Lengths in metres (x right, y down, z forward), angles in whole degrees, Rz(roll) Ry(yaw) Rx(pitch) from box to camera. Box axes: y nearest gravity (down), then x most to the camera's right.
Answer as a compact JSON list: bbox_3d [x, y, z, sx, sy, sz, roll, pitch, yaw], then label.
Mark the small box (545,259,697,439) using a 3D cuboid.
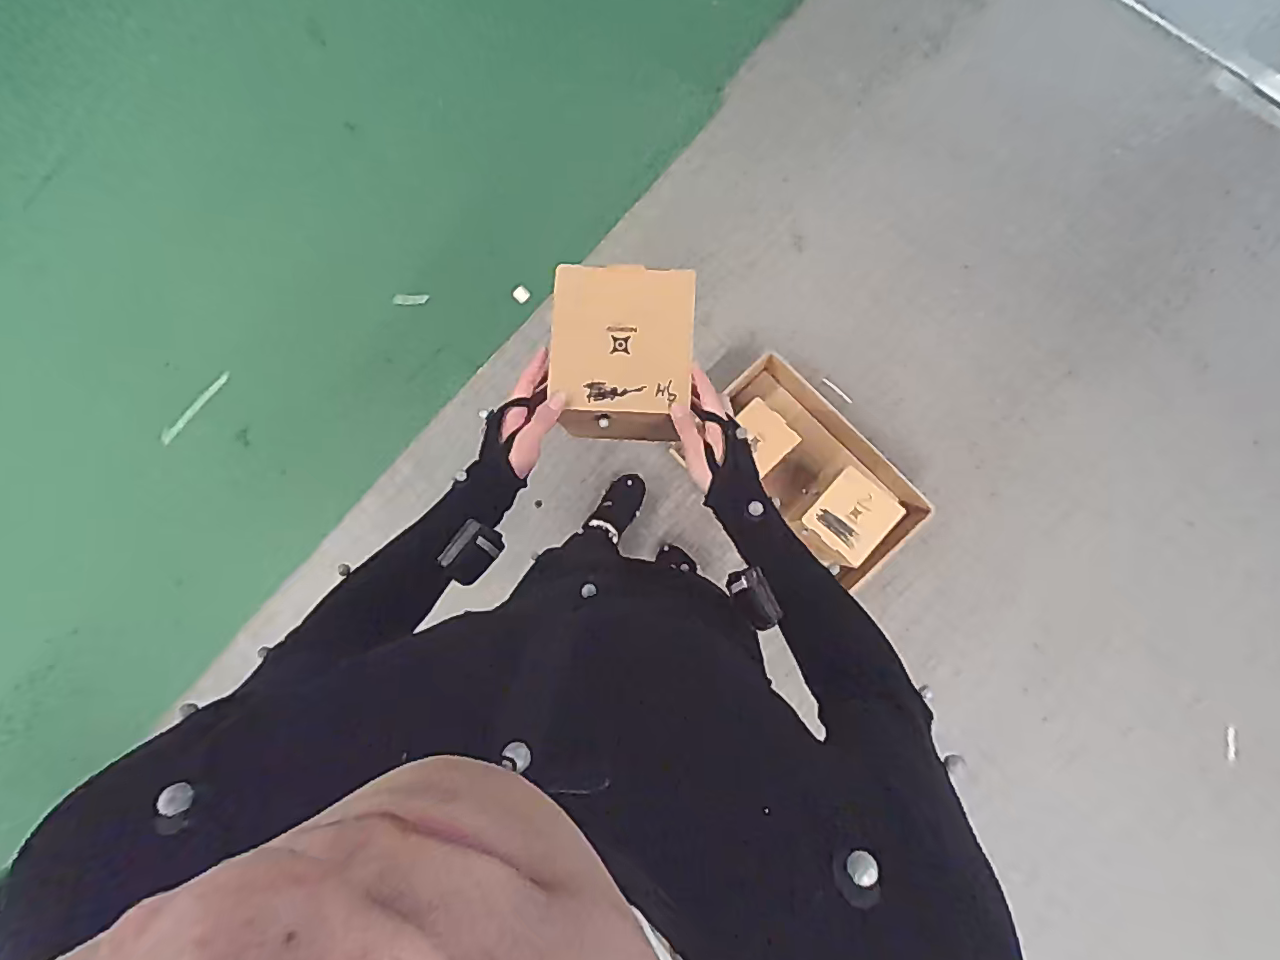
[{"bbox_3d":[-0.019,-0.156,0.690,0.168,0.176,0.179,2,84,2],"label":"small box"}]
